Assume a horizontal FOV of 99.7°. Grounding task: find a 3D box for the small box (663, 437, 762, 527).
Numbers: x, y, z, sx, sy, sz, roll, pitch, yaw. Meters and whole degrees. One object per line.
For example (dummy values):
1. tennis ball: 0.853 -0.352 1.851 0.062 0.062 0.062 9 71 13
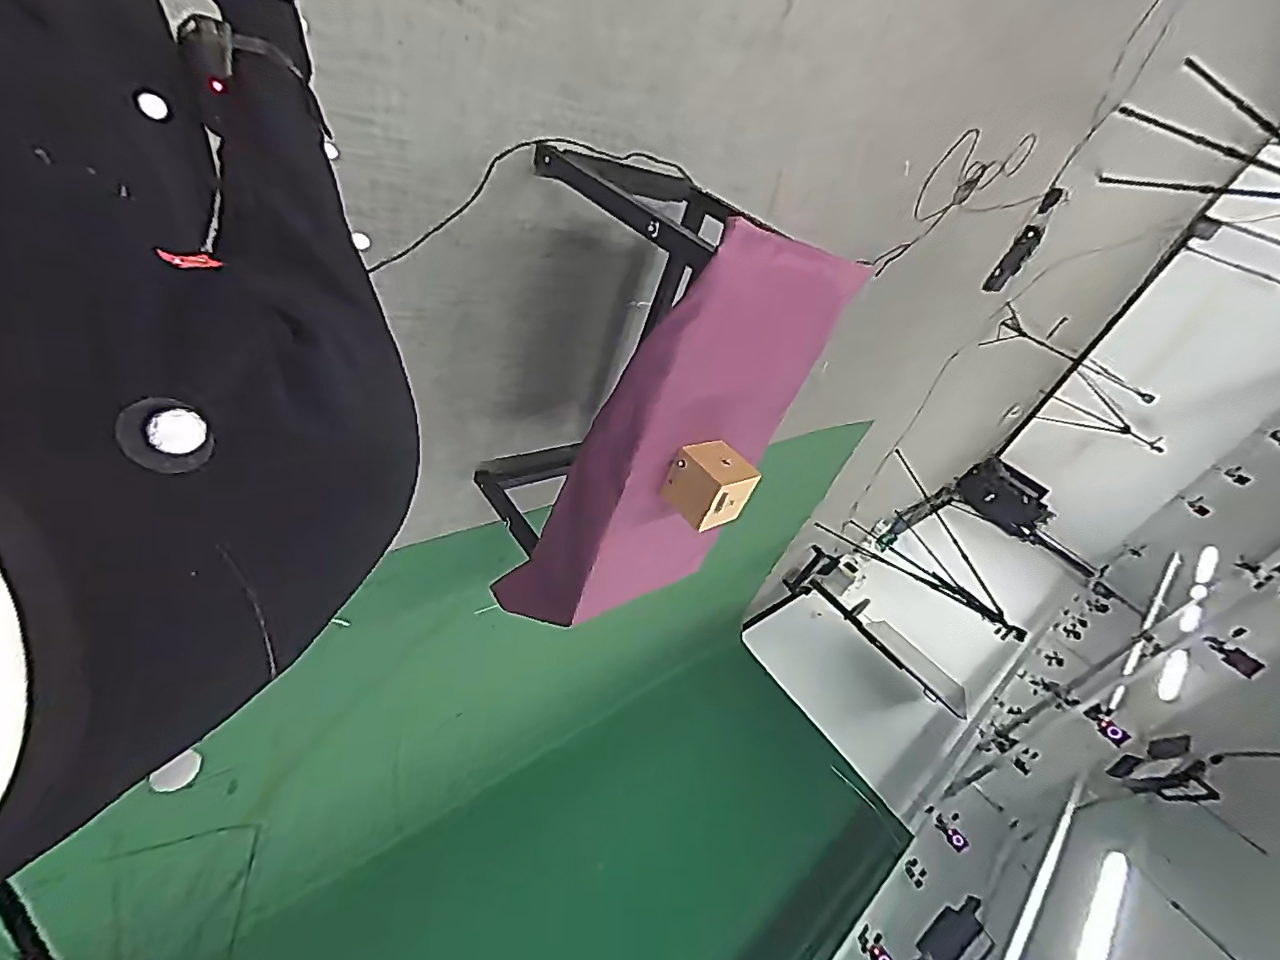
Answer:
1. small box: 0.192 0.000 1.486 0.179 0.176 0.168 -14 139 -42
